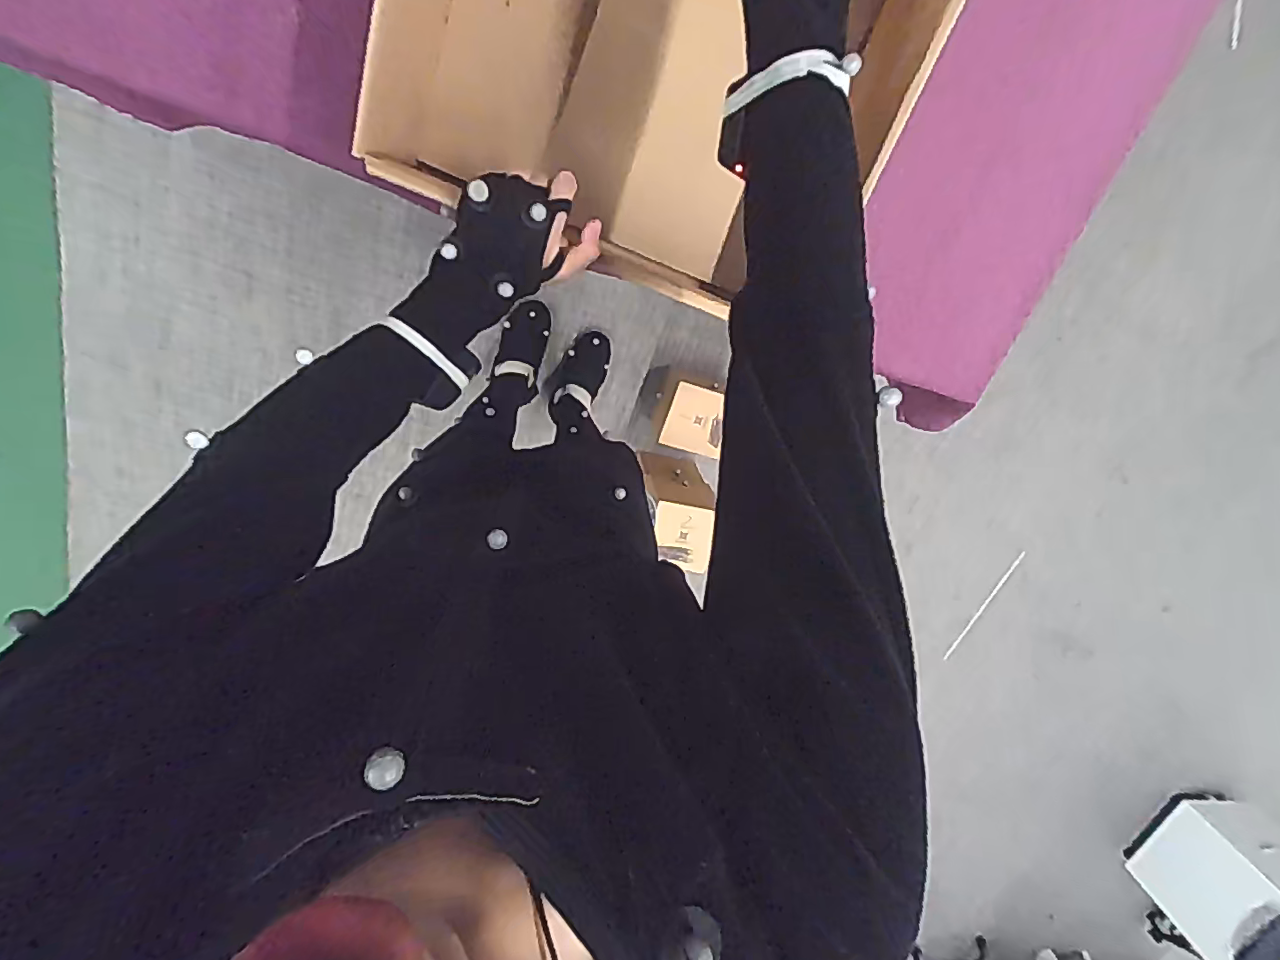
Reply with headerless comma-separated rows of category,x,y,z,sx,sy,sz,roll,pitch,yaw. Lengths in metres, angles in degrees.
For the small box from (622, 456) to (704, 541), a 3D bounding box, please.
small box,0.055,0.046,1.499,0.179,0.176,0.168,11,112,-12
